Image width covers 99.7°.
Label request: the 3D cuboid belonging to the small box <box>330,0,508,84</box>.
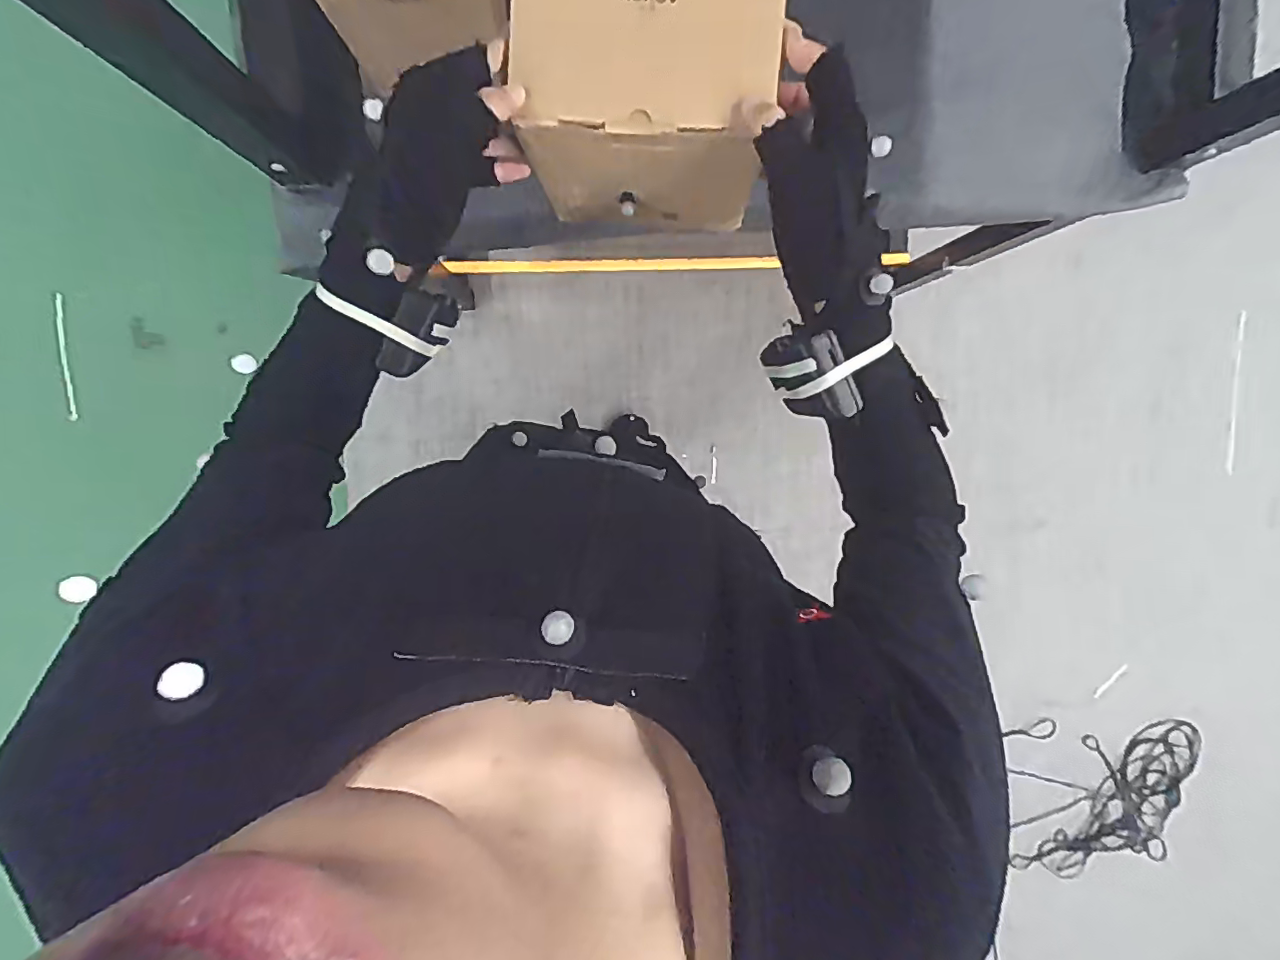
[{"bbox_3d":[-0.243,-0.567,0.577,0.168,0.176,0.179,-4,97,-3],"label":"small box"}]
